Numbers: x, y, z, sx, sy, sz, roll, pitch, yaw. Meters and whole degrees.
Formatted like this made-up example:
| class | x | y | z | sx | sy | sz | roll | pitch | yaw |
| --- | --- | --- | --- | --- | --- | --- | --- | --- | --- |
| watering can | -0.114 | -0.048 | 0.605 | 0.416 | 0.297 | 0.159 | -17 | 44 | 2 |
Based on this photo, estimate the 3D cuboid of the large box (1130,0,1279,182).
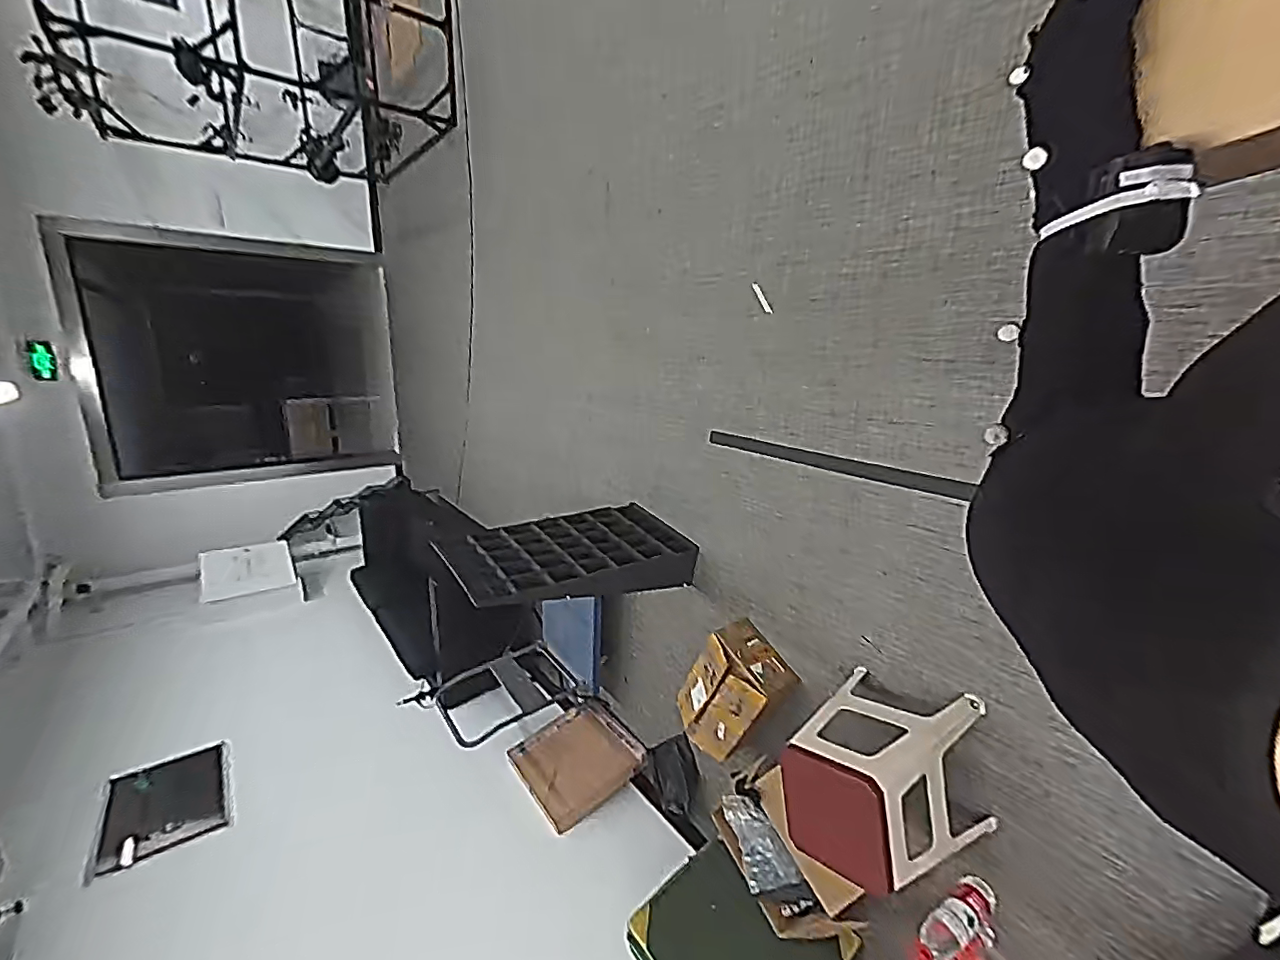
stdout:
| class | x | y | z | sx | sy | sz | roll | pitch | yaw |
| --- | --- | --- | --- | --- | --- | --- | --- | --- | --- |
| large box | 0.581 | -0.425 | 0.316 | 0.408 | 0.320 | 0.320 | 3 | 107 | 53 |
